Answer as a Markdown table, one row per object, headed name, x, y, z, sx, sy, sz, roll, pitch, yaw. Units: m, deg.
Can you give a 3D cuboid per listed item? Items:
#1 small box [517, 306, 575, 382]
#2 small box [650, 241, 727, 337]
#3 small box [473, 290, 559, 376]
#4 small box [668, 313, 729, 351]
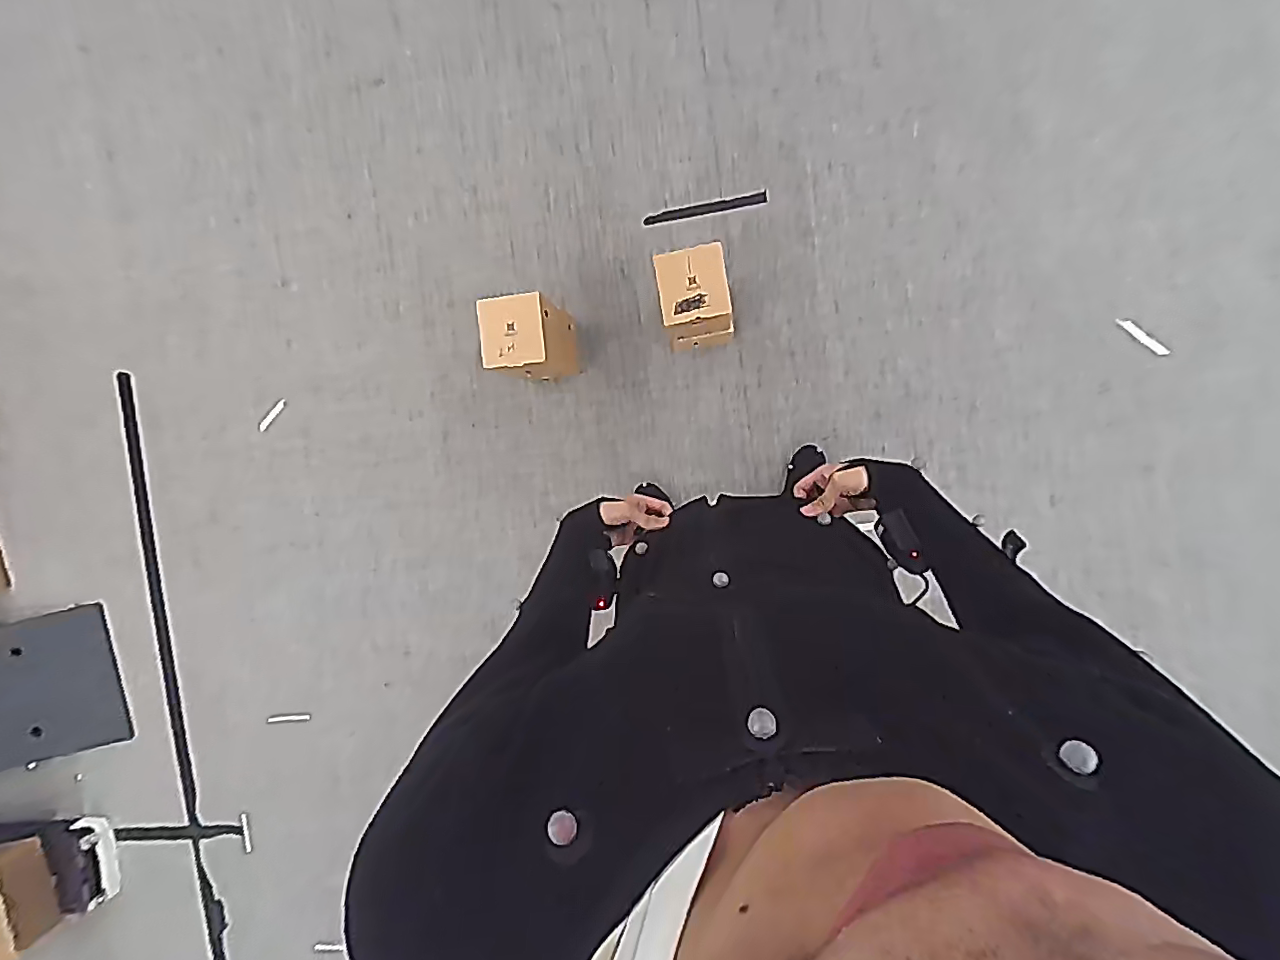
| name | x | y | z | sx | sy | sz | roll | pitch | yaw |
| --- | --- | --- | --- | --- | --- | --- | --- | --- | --- |
| small box | -0.292 | -0.390 | 1.572 | 0.168 | 0.176 | 0.179 | -4 | 92 | 7 |
| small box | 0.125 | -0.468 | 1.358 | 0.168 | 0.176 | 0.179 | -9 | 90 | 7 |
| small box | -0.317 | -0.377 | 1.410 | 0.168 | 0.176 | 0.179 | -5 | 93 | 8 |
| small box | 0.155 | -0.470 | 1.520 | 0.168 | 0.176 | 0.179 | -10 | 91 | 7 |
